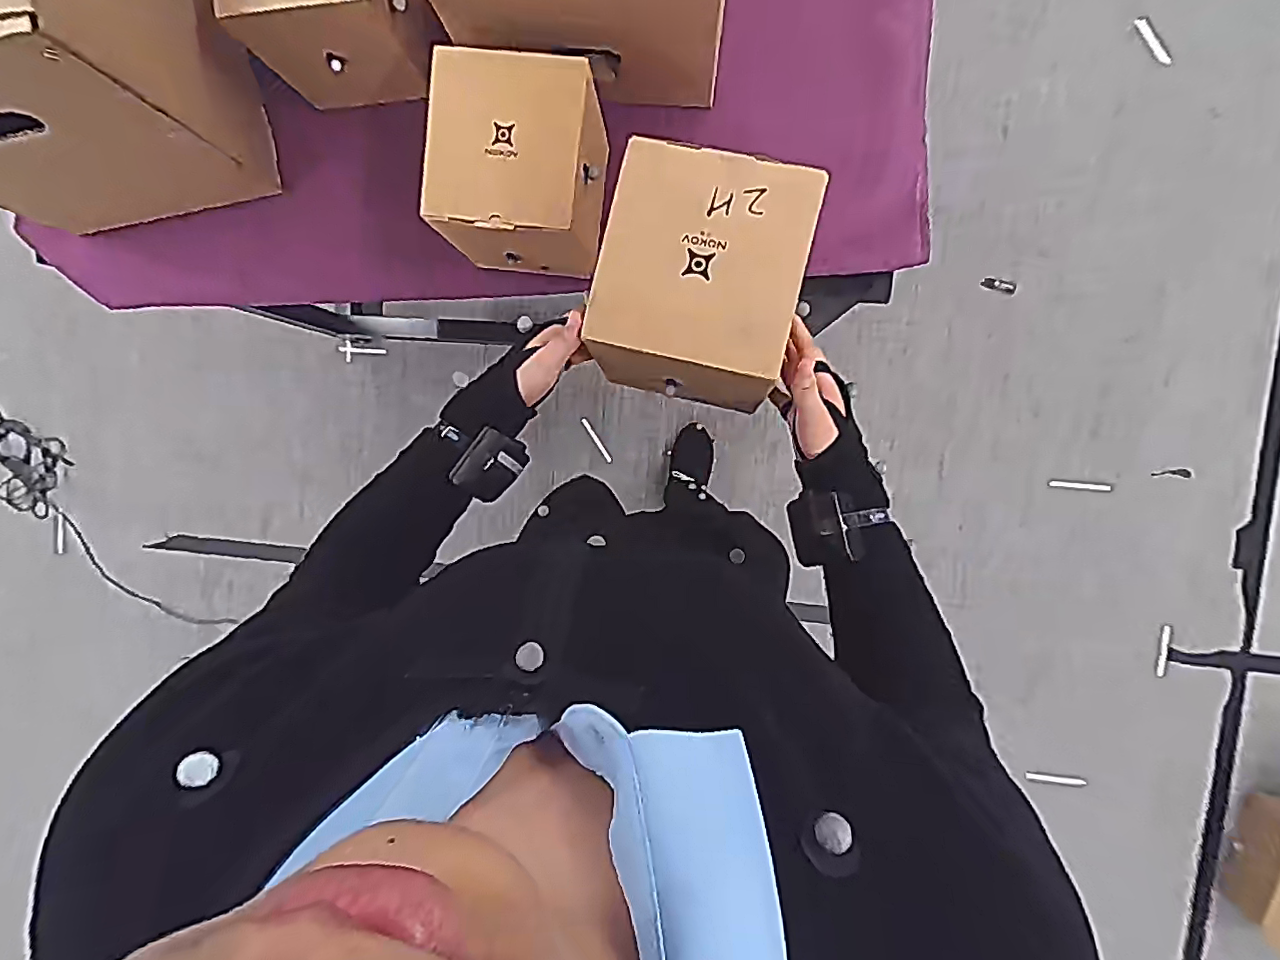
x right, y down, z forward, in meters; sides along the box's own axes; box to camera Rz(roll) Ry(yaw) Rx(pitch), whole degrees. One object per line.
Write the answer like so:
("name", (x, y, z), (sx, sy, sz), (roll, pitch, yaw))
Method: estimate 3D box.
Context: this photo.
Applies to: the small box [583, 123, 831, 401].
("small box", (0.060, -0.184, 0.508), (0.168, 0.176, 0.179), (14, 88, 5))
